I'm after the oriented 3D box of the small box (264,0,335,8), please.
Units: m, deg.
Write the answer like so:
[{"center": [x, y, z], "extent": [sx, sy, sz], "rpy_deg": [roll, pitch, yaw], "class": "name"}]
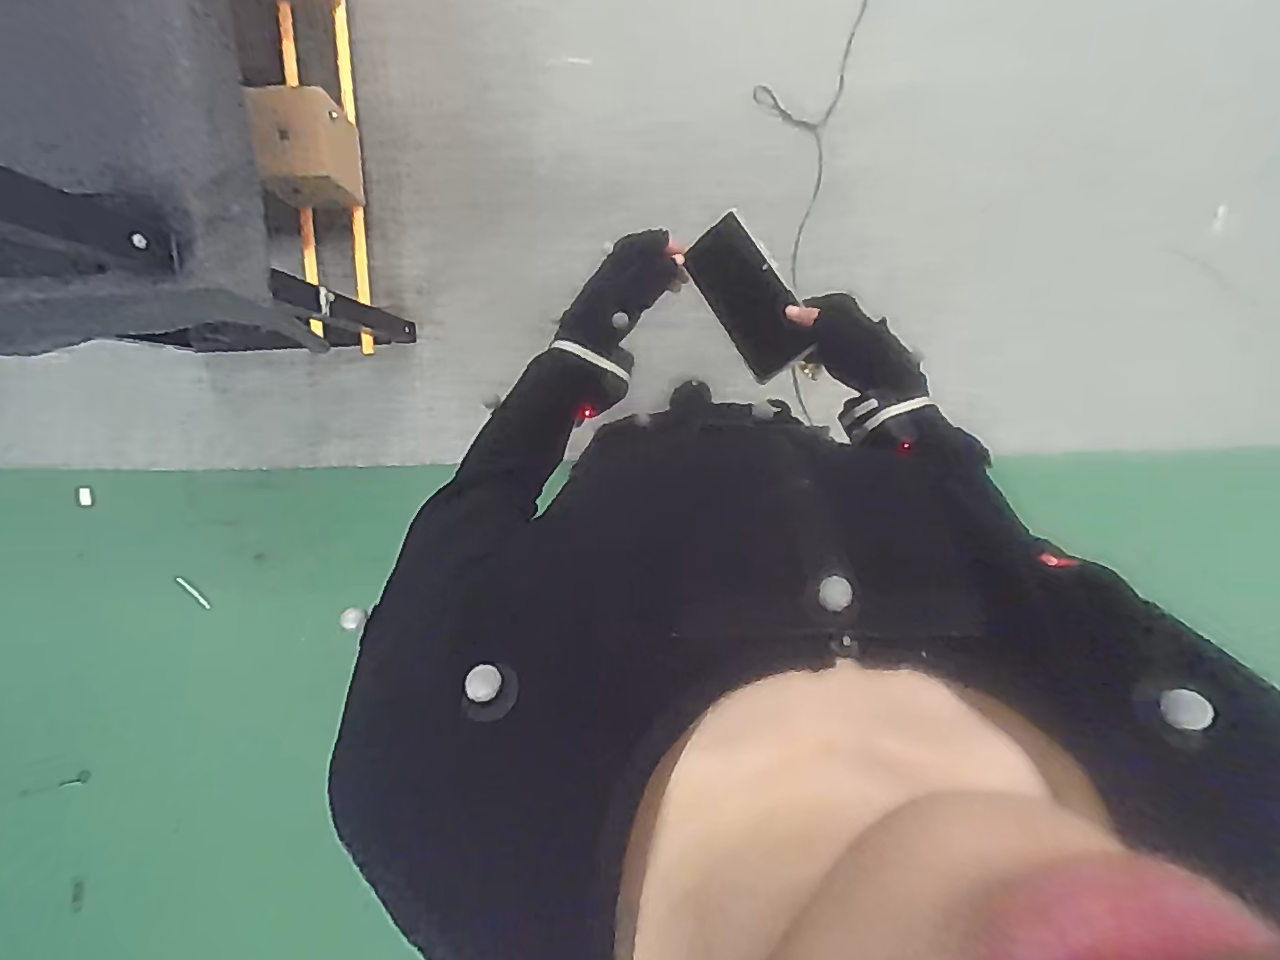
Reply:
[{"center": [-0.749, -1.130, 1.121], "extent": [0.179, 0.176, 0.168], "rpy_deg": [1, 97, -2], "class": "small box"}]
